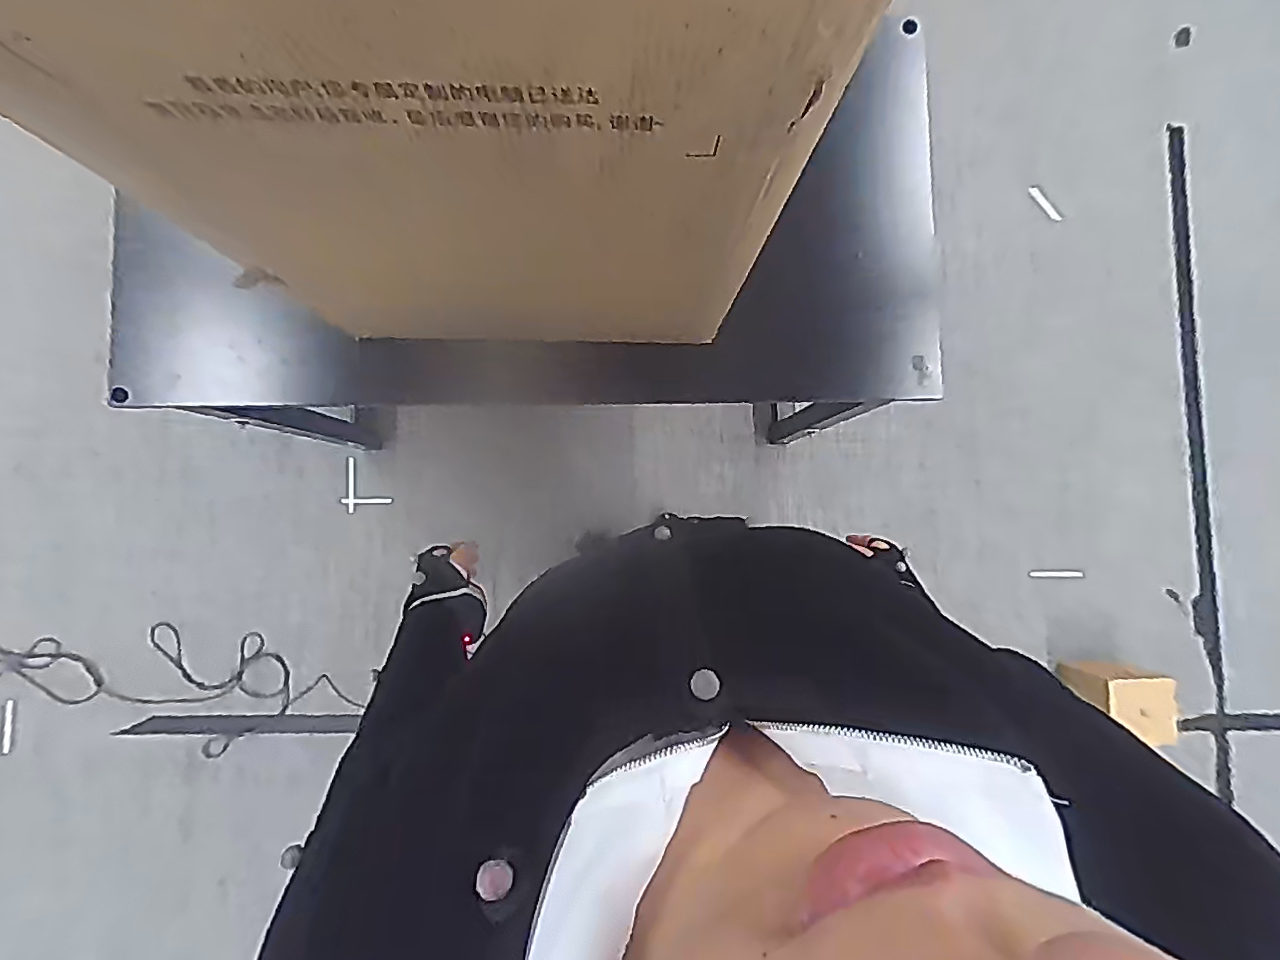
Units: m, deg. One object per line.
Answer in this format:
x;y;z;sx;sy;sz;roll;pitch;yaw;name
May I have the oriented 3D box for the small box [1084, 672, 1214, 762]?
1.293;0.597;1.383;0.179;0.176;0.168;-2;87;-1;small box
